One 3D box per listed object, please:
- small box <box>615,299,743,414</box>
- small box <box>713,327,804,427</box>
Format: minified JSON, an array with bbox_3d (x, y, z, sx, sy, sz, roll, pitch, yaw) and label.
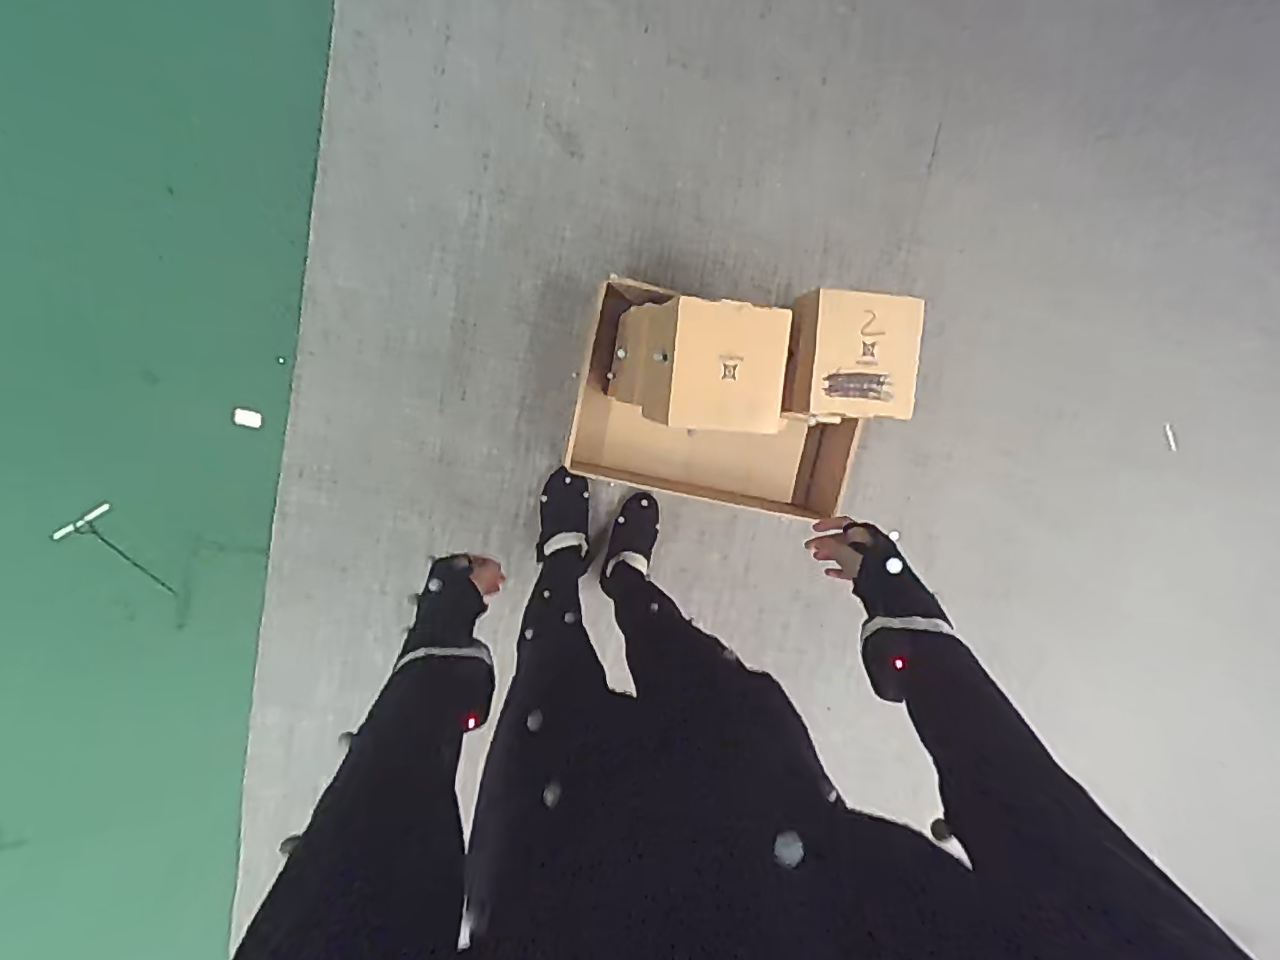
[{"bbox_3d":[0.061,-0.216,0.965,0.179,0.176,0.168,6,99,-11],"label":"small box"},{"bbox_3d":[0.225,-0.221,1.163,0.168,0.176,0.179,11,98,-10],"label":"small box"}]
